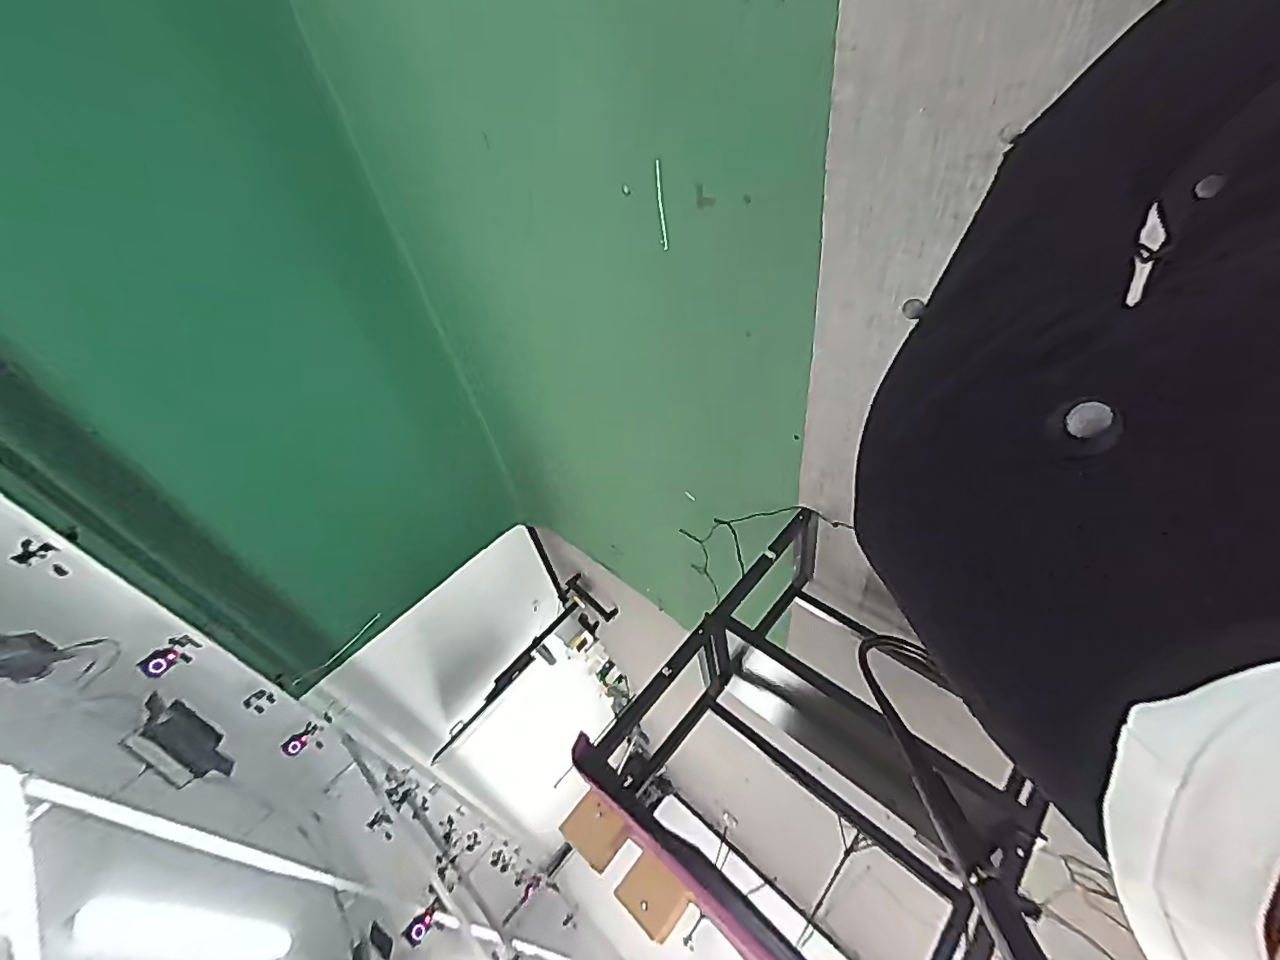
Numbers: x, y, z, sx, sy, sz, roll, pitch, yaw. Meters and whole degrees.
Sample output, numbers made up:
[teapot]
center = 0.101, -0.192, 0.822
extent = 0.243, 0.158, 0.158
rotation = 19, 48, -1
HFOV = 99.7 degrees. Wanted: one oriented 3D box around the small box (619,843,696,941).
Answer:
[small box]
center = 0.065, 1.299, 1.710
extent = 0.179, 0.176, 0.168
rotation = 28, 148, 36
